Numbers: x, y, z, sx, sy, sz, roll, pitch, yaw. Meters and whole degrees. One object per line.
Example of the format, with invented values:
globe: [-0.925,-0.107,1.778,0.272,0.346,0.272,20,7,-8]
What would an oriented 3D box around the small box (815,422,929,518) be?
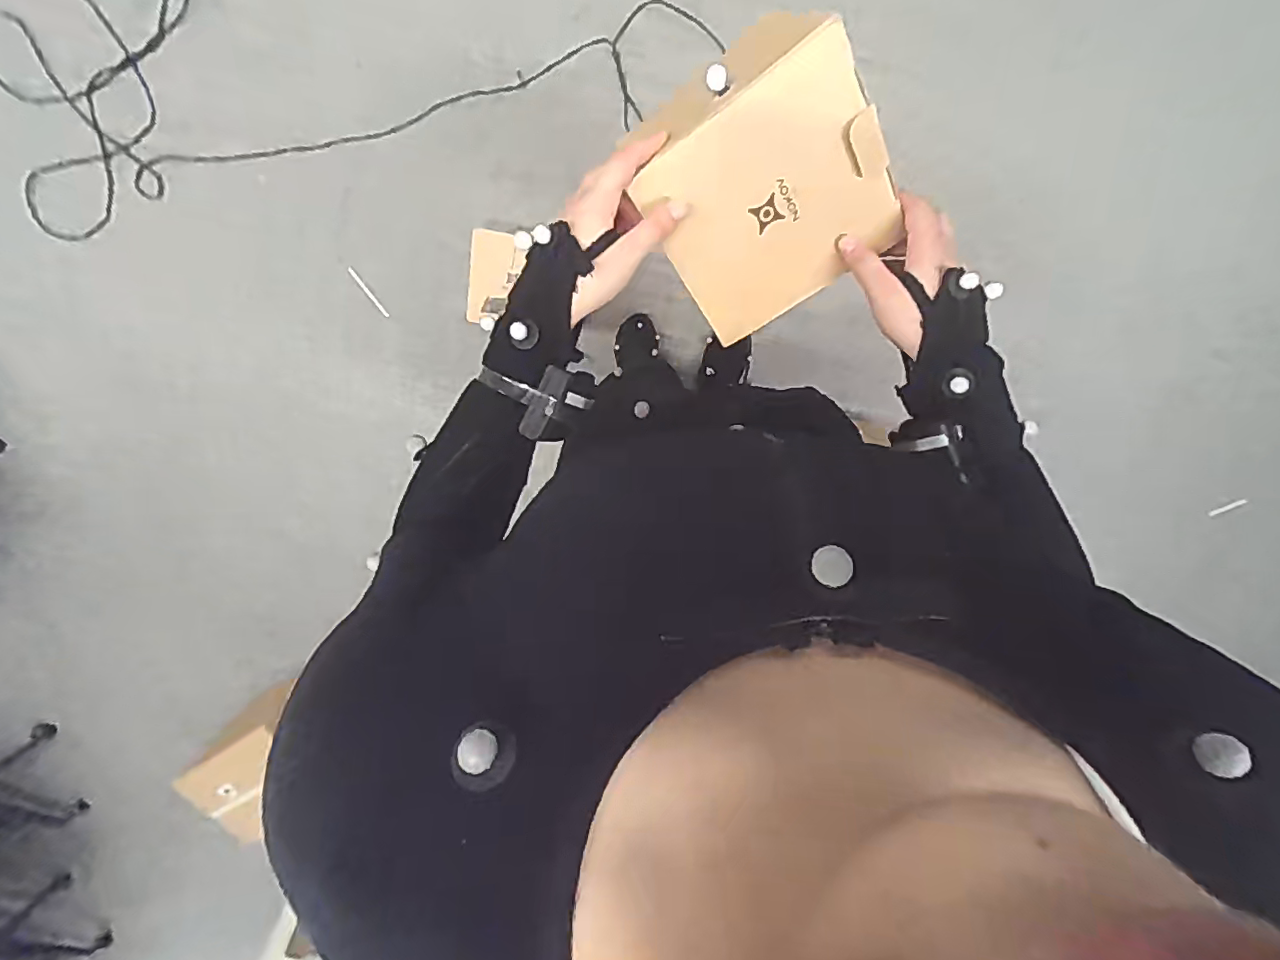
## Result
small box: [0.525,-0.030,1.254,0.179,0.176,0.168,6,112,-2]

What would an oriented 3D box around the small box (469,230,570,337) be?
small box: [-0.245,-0.407,1.129,0.168,0.176,0.179,9,109,-2]

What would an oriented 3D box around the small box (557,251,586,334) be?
small box: [-0.225,-0.455,1.286,0.168,0.176,0.179,9,110,-1]
